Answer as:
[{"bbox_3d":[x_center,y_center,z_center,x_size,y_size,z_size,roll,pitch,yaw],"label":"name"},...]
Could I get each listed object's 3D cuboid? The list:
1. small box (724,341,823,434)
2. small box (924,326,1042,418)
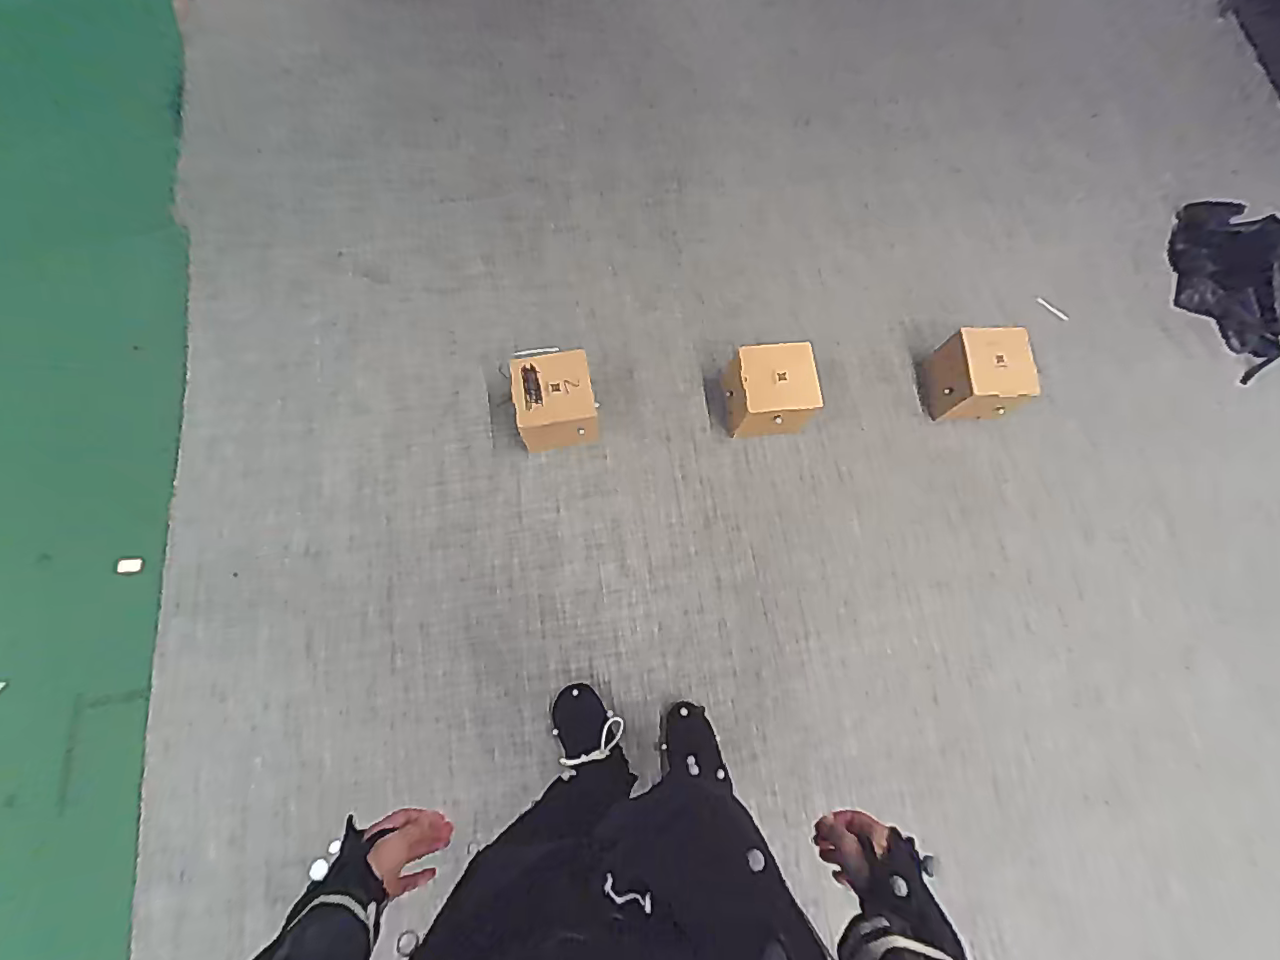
[{"bbox_3d":[0.313,-0.217,1.297,0.179,0.176,0.168,-5,76,-4],"label":"small box"},{"bbox_3d":[0.834,-0.259,1.332,0.168,0.176,0.179,-1,74,-4],"label":"small box"}]
